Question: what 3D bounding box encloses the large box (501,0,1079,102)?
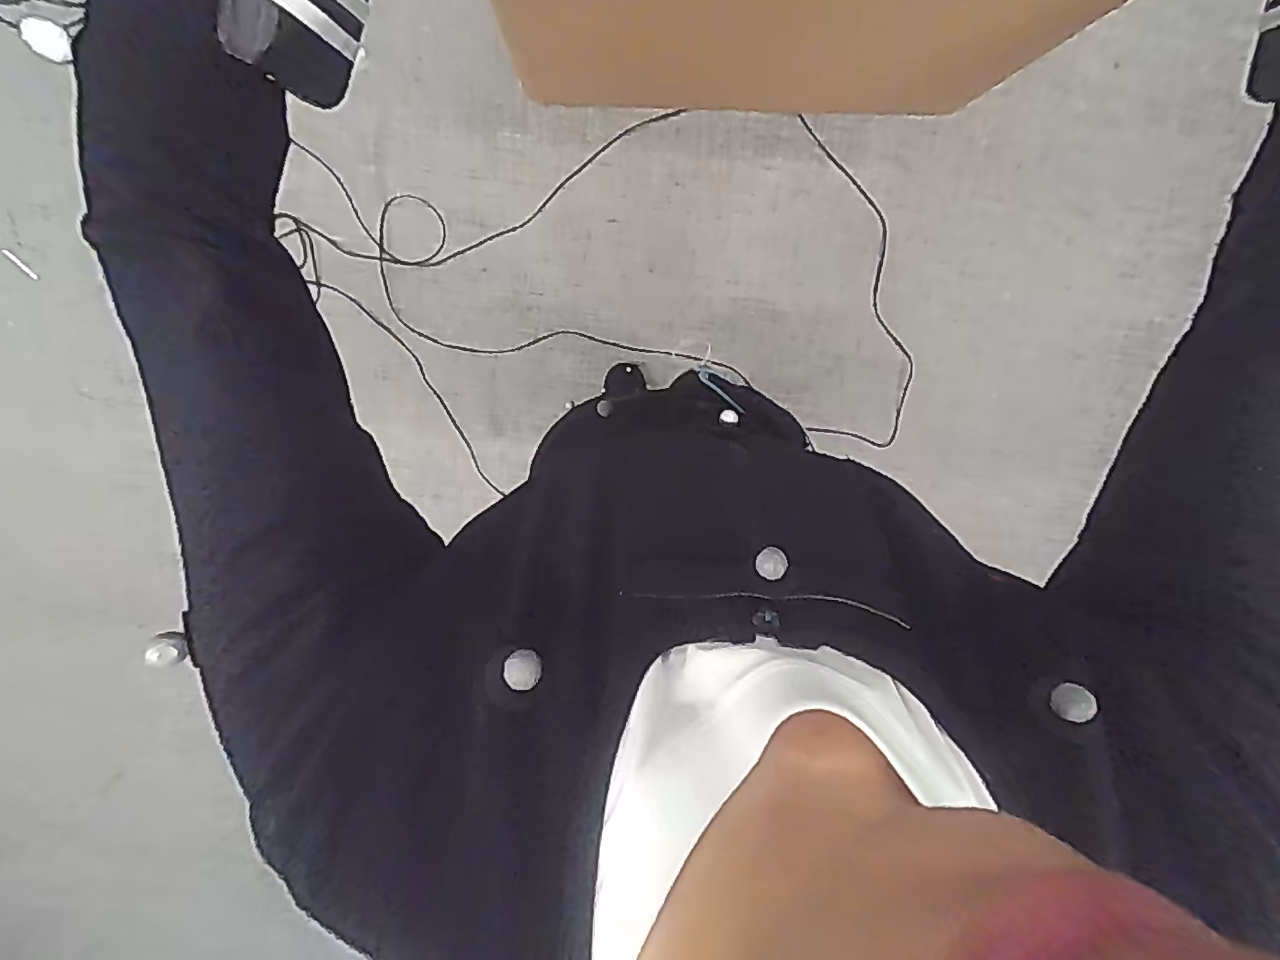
[{"bbox_3d":[0.101,-0.466,0.327,0.408,0.320,0.320,-1,105,-3],"label":"large box"}]
